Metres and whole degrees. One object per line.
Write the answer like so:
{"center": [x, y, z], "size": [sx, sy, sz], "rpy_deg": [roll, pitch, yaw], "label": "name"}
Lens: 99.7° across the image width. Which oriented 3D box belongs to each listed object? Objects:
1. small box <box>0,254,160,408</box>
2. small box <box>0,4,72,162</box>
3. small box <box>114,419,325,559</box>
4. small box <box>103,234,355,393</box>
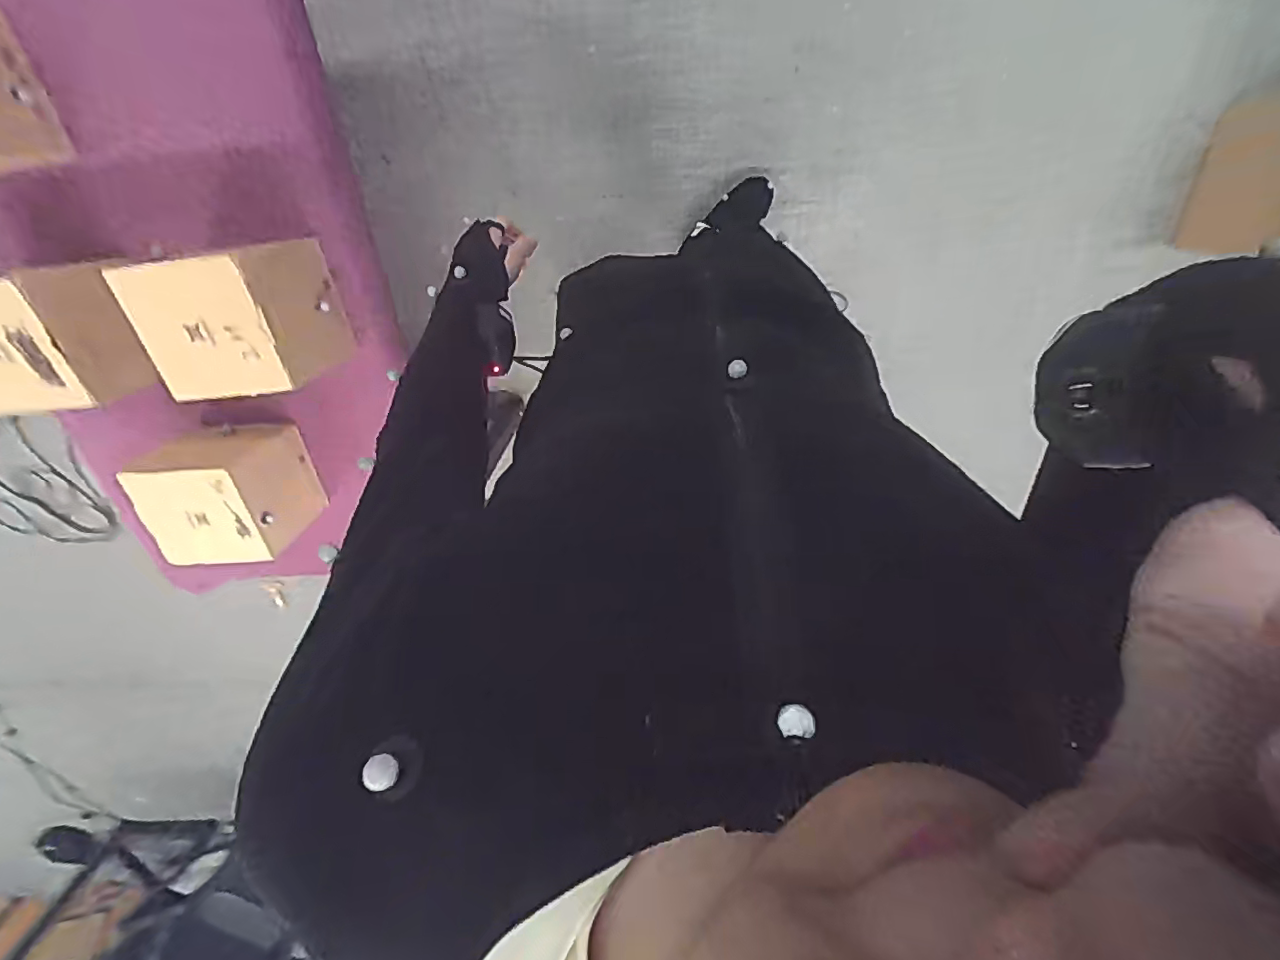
{"center": [-0.814, -0.212, 0.755], "size": [0.179, 0.176, 0.168], "rpy_deg": [-4, 120, 5], "label": "small box"}
{"center": [-0.838, -0.458, 0.614], "size": [0.179, 0.176, 0.168], "rpy_deg": [-5, 121, 4], "label": "small box"}
{"center": [-0.658, 0.010, 0.874], "size": [0.179, 0.176, 0.168], "rpy_deg": [-2, 122, 5], "label": "small box"}
{"center": [-0.531, -0.228, 0.730], "size": [0.179, 0.176, 0.168], "rpy_deg": [-4, 120, 6], "label": "small box"}
